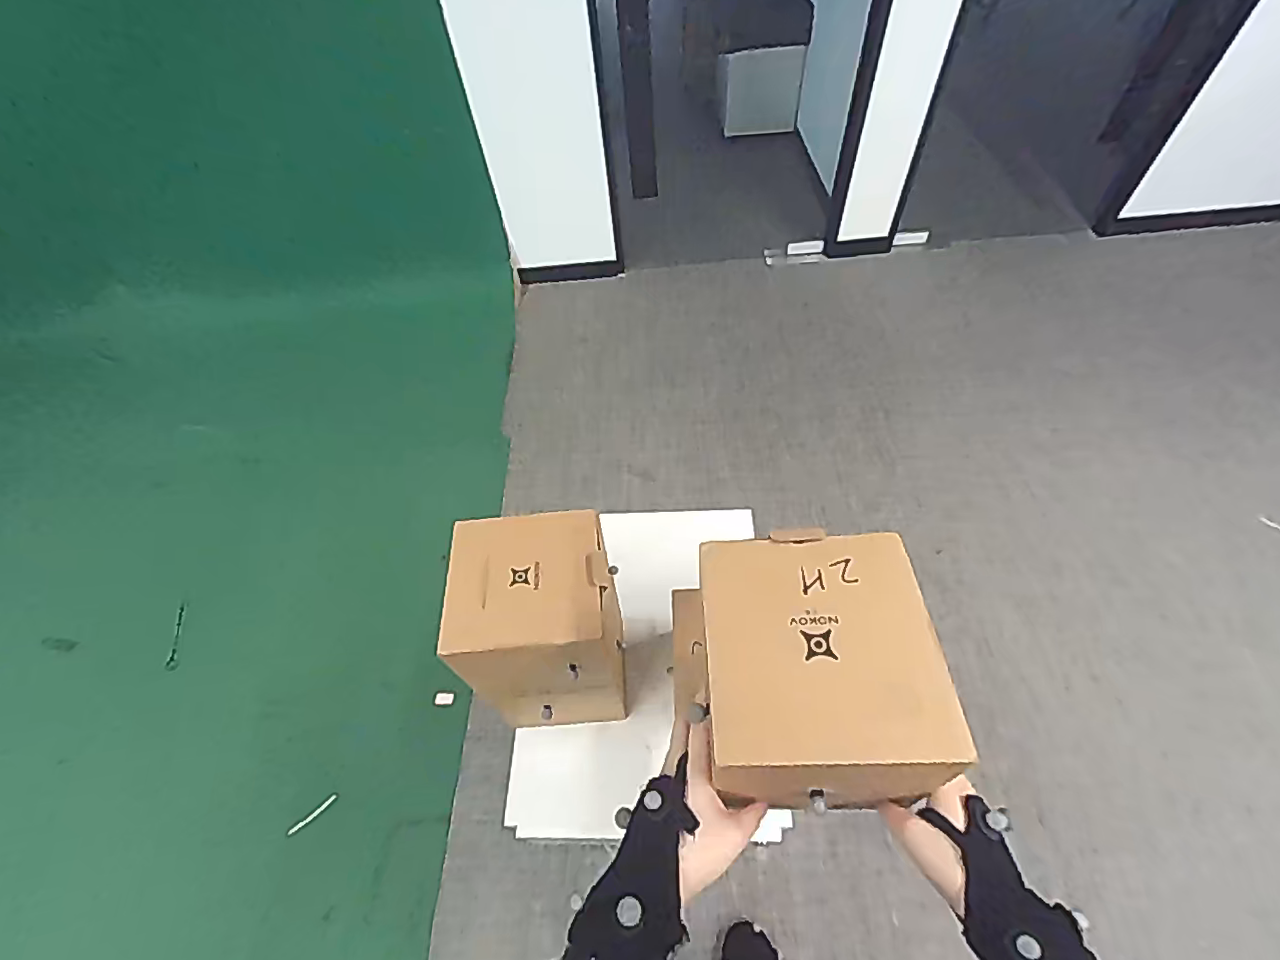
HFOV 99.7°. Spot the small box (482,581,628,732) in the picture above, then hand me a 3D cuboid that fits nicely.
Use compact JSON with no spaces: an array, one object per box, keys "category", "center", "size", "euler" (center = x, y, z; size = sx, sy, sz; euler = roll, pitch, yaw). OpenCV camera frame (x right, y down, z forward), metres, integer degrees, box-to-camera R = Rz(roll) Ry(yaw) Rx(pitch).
[{"category":"small box","center":[-0.115,0.264,0.797],"size":[0.179,0.176,0.168],"euler":[-5,54,1]}]

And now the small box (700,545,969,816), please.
[{"category":"small box","center":[0.139,0.175,0.462],"size":[0.168,0.176,0.179],"euler":[-2,49,4]}]

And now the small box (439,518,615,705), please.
[{"category":"small box","center":[-0.123,0.165,0.667],"size":[0.179,0.176,0.168],"euler":[-6,53,-1]}]
